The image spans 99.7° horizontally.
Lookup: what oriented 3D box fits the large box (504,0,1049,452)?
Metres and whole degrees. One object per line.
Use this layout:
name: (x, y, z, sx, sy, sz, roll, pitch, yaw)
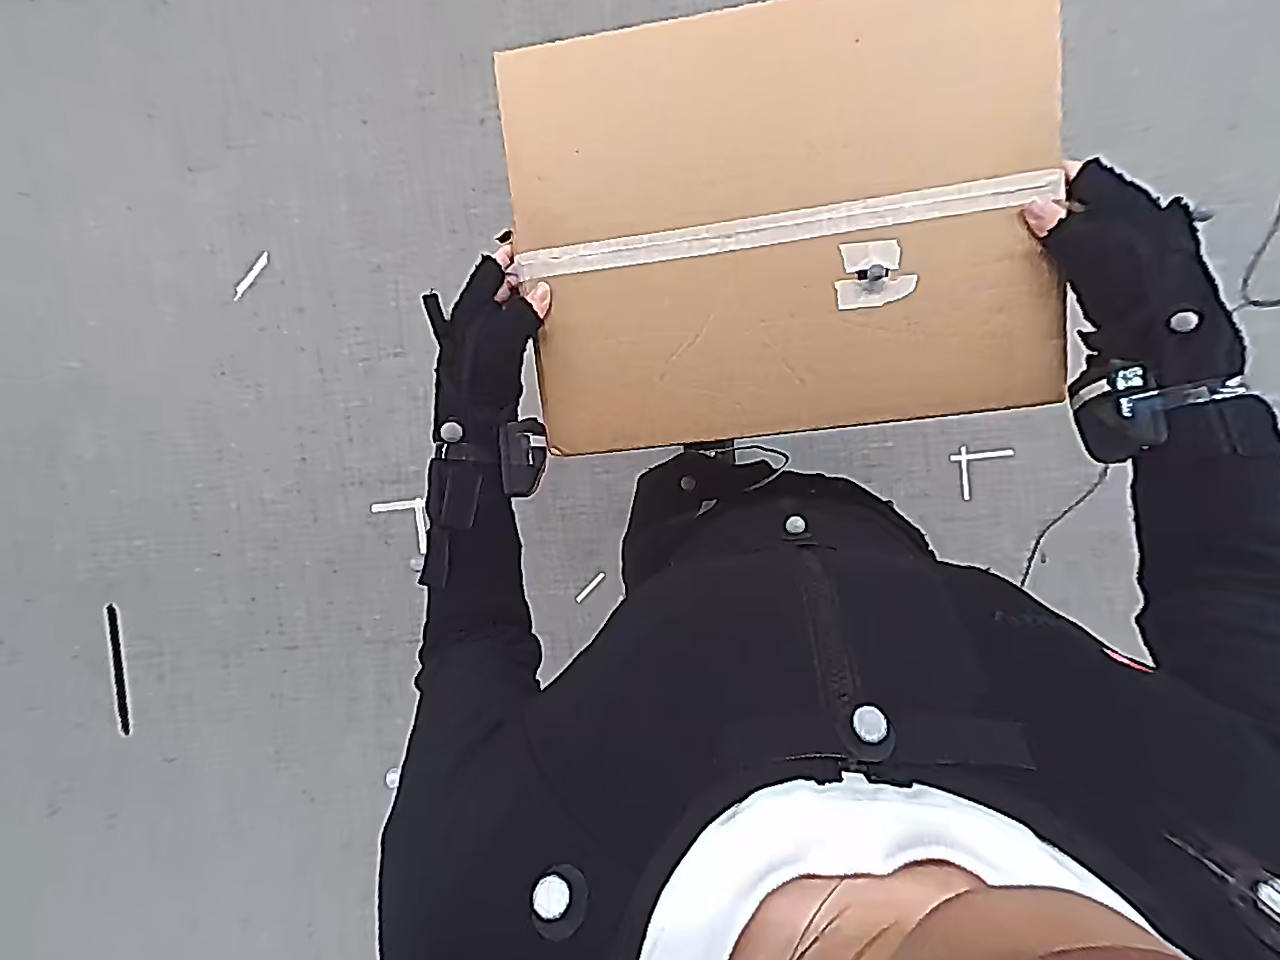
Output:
large box: (0.117, -0.219, 0.572, 0.408, 0.320, 0.320, -7, 98, 6)
